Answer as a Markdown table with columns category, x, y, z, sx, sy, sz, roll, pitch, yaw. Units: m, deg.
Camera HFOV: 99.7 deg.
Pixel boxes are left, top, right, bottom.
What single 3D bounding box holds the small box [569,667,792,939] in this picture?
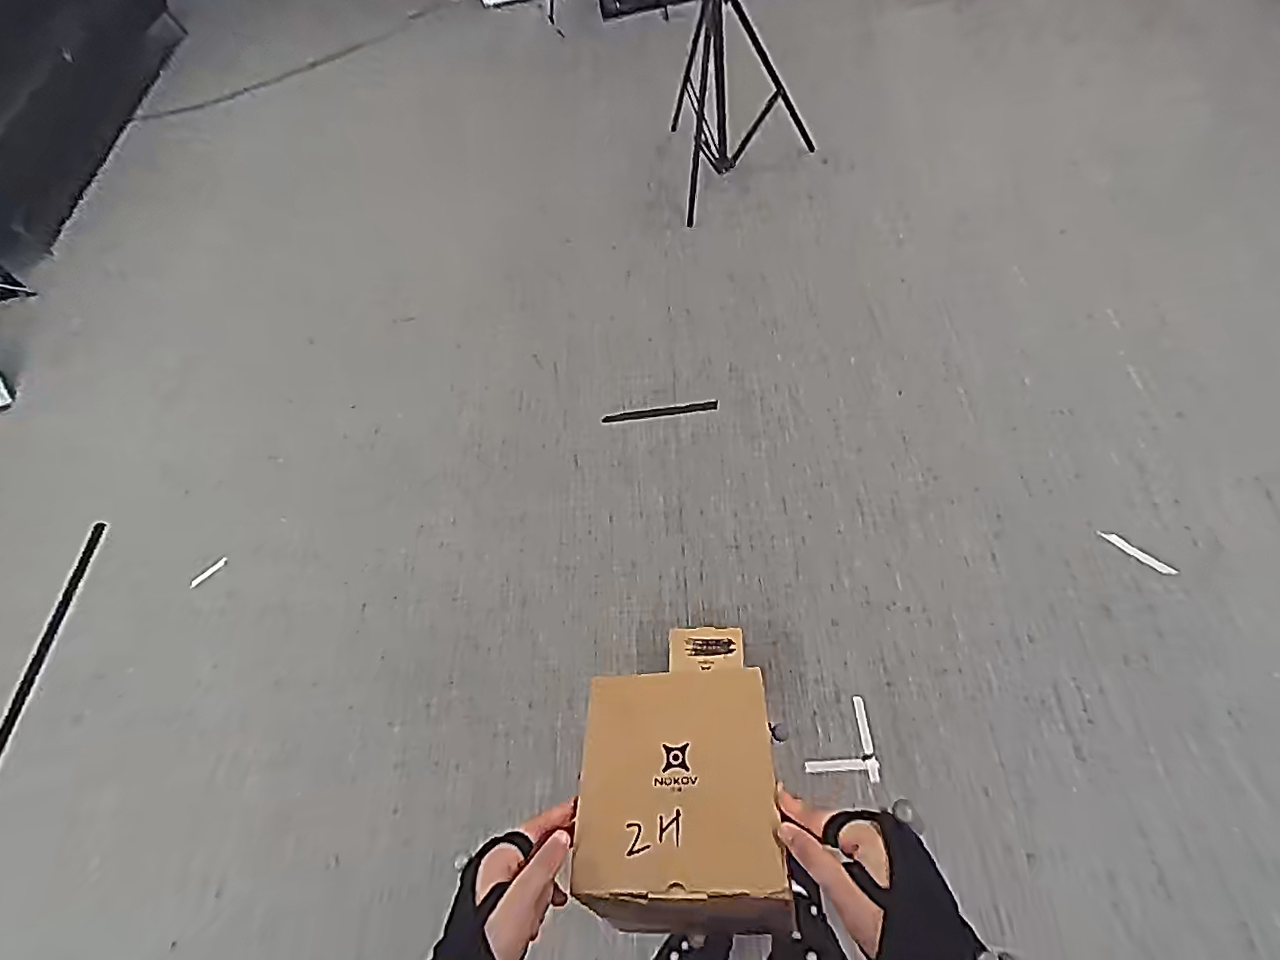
| category | x | y | z | sx | sy | sz | roll | pitch | yaw |
| --- | --- | --- | --- | --- | --- | --- | --- | --- | --- |
| small box | 0.046 | 0.301 | 0.507 | 0.168 | 0.176 | 0.179 | -8 | 41 | 10 |
